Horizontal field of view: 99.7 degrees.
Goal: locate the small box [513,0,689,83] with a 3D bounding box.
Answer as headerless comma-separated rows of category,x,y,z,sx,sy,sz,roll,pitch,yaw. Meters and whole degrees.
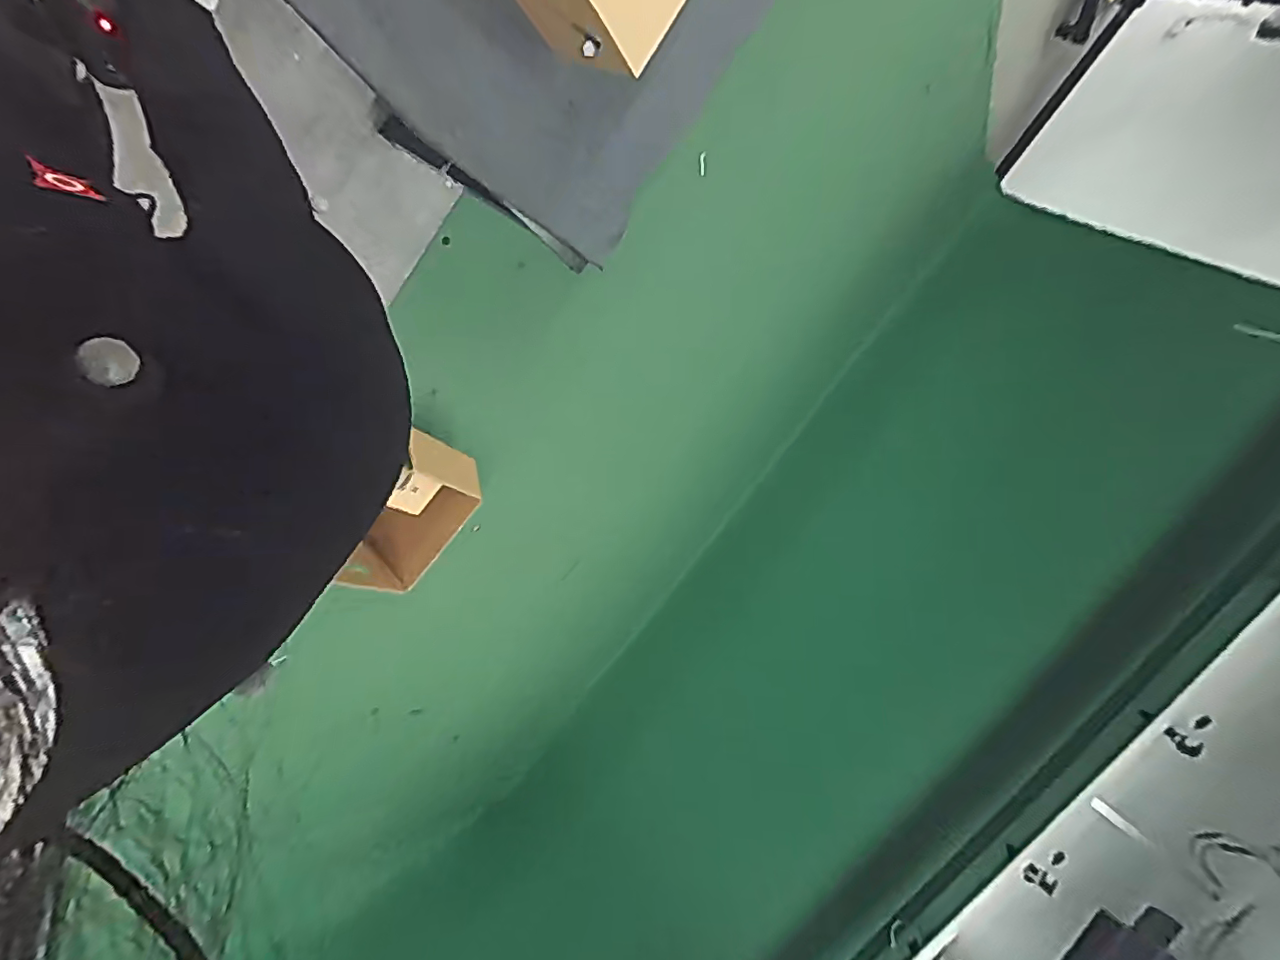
small box,-0.052,-0.583,0.577,0.168,0.176,0.179,-55,150,9
